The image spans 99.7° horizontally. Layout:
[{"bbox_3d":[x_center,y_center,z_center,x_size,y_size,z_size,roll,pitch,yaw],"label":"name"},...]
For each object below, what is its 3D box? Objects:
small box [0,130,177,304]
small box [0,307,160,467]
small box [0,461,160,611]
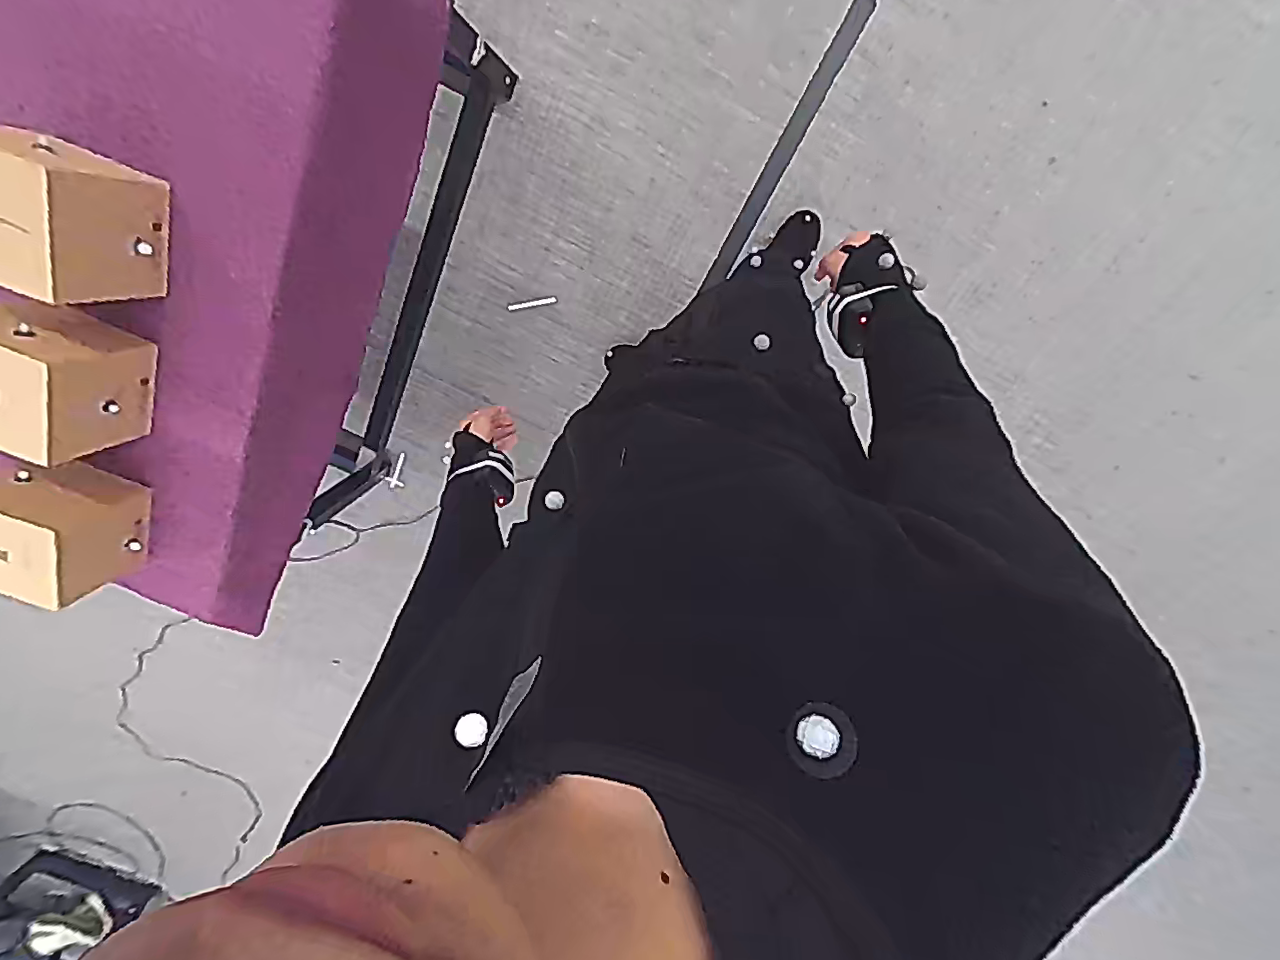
[{"bbox_3d":[-0.781,-0.350,0.724,0.179,0.176,0.168,21,113,-5],"label":"small box"},{"bbox_3d":[-0.880,-0.149,0.814,0.179,0.176,0.168,24,112,-5],"label":"small box"},{"bbox_3d":[-0.980,0.085,0.918,0.179,0.176,0.168,22,113,-4],"label":"small box"}]
